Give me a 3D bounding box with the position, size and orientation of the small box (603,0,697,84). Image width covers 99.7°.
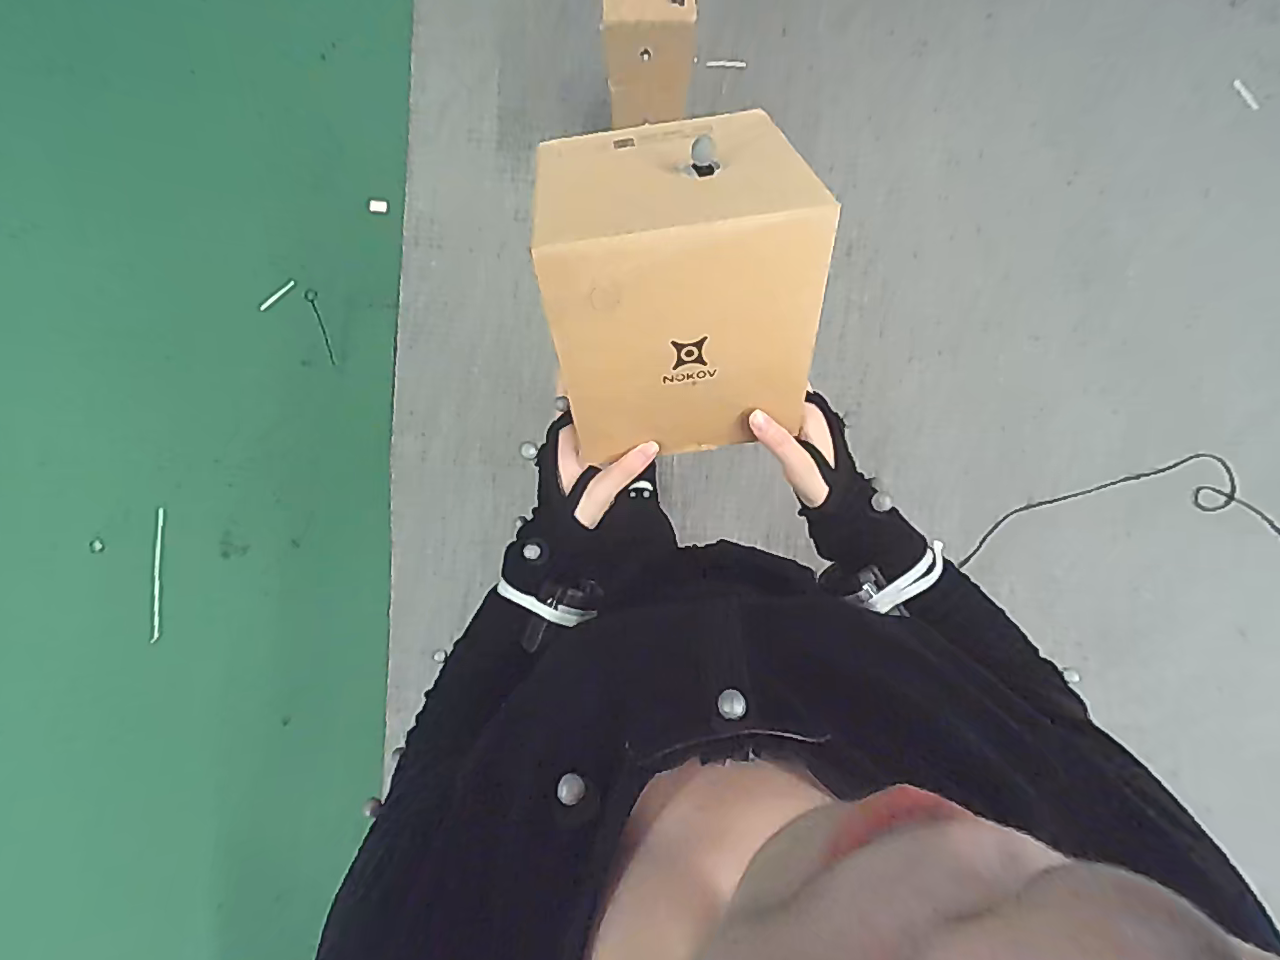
[{"bbox_3d":[0.020,-0.929,1.079,0.179,0.176,0.168,0,90,2],"label":"small box"}]

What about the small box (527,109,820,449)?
[{"bbox_3d":[0.016,-0.151,0.404,0.168,0.179,0.176,-8,52,1],"label":"small box"}]

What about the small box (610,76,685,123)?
[{"bbox_3d":[0.015,-0.935,1.244,0.168,0.176,0.179,-2,91,2],"label":"small box"}]
